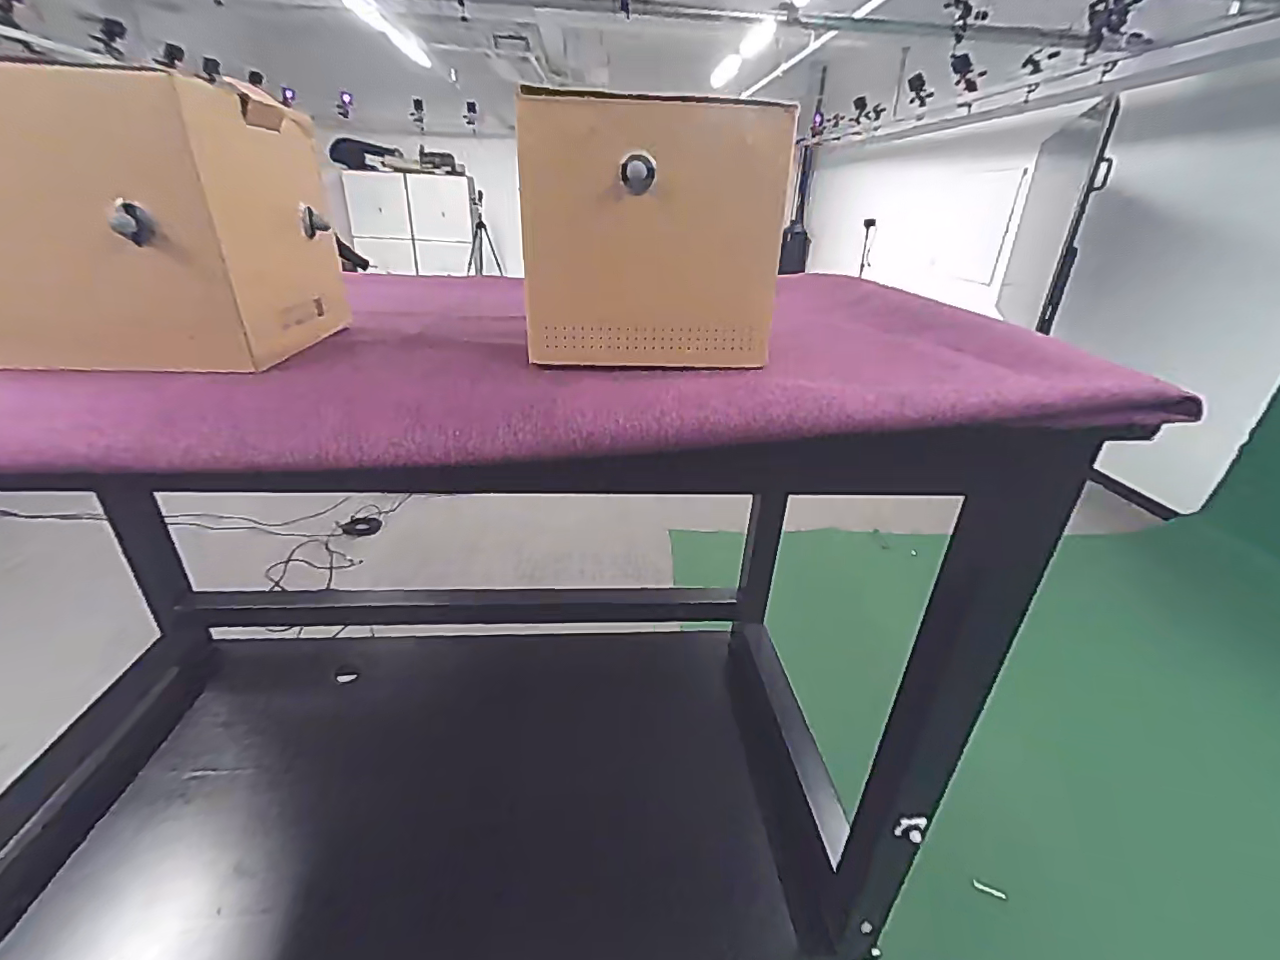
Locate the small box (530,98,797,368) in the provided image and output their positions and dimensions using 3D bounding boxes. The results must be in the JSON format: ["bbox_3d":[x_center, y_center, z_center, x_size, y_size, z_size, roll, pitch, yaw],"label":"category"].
[{"bbox_3d":[0.011,-0.191,0.447,0.179,0.176,0.168,1,24,-4],"label":"small box"}]

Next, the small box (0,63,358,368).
[{"bbox_3d":[-0.334,-0.183,0.398,0.179,0.176,0.168,-1,26,-5],"label":"small box"}]
